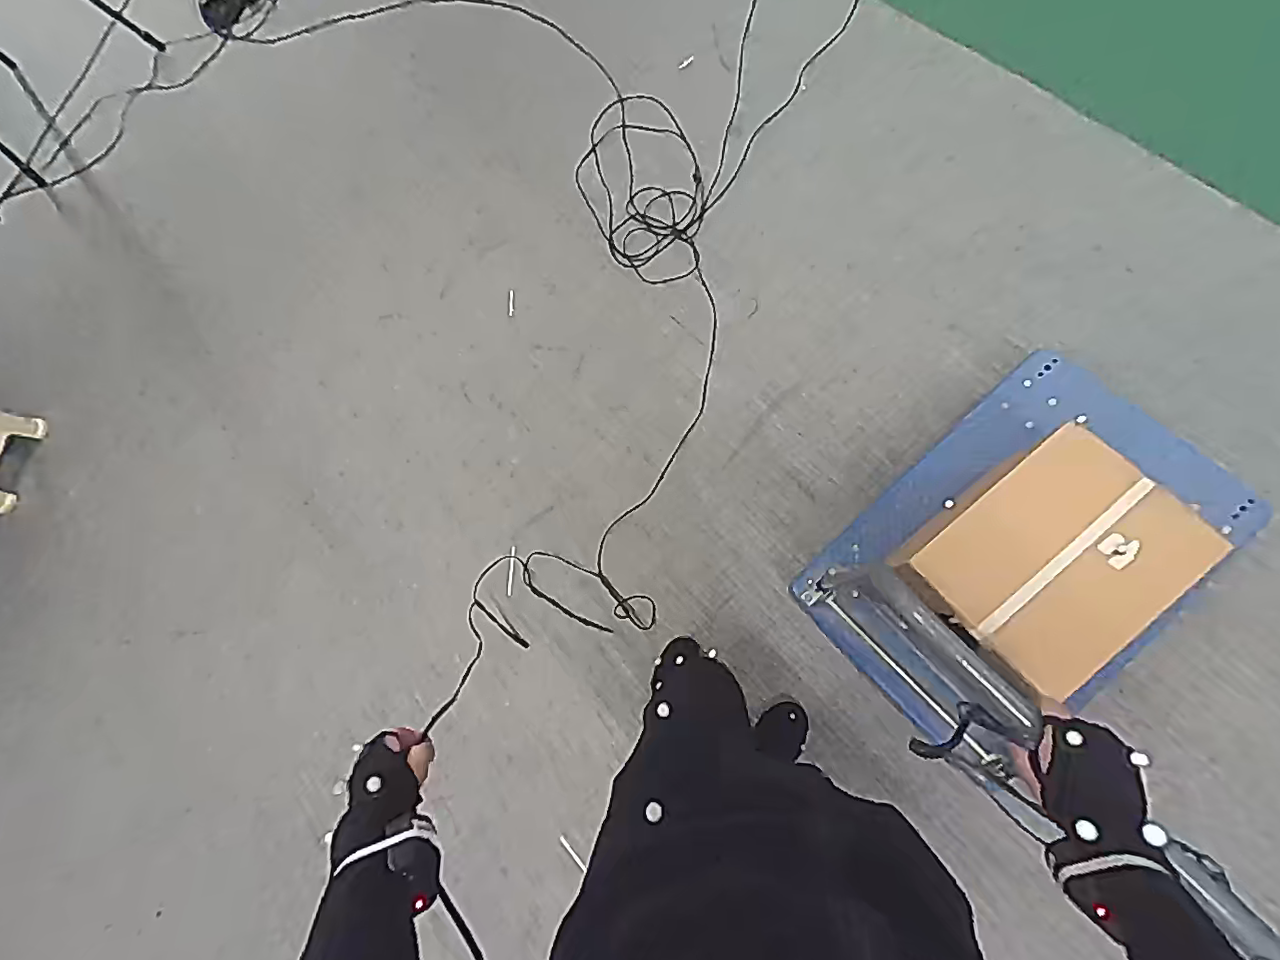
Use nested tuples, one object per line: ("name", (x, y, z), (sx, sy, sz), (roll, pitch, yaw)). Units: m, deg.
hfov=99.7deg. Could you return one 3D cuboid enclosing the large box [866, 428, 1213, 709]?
("large box", (0.736, 0.179, 1.075), (0.408, 0.320, 0.320), (-40, 73, -3))
